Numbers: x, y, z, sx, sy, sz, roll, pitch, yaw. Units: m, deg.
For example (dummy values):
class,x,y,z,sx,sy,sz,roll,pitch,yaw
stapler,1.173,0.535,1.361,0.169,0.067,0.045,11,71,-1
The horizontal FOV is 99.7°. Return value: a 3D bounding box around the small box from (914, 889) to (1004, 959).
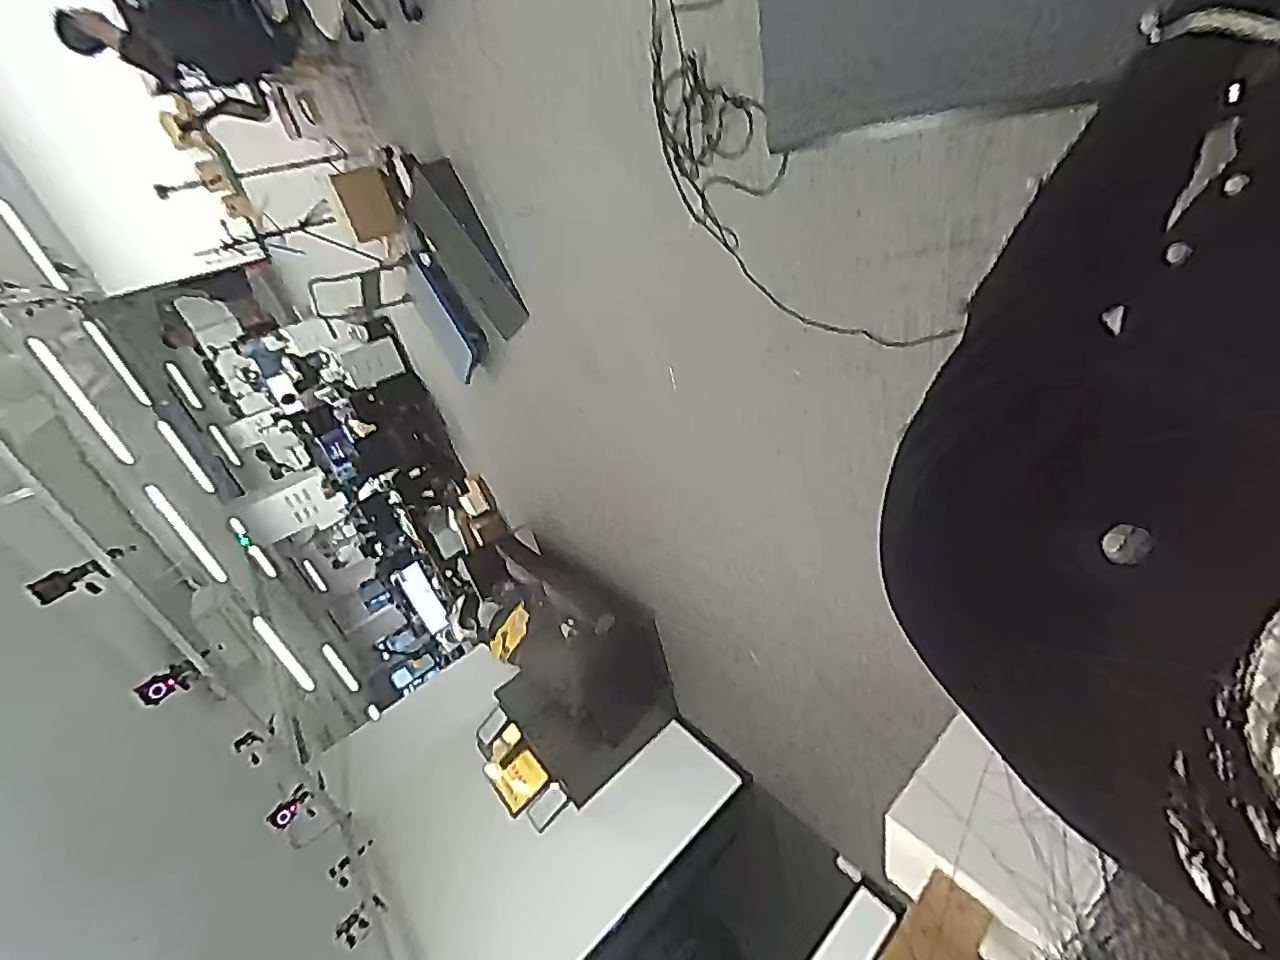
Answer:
class,x,y,z,sx,sy,sz,roll,pitch,yaw
small box,0.913,1.338,1.553,0.168,0.176,0.179,25,138,46
